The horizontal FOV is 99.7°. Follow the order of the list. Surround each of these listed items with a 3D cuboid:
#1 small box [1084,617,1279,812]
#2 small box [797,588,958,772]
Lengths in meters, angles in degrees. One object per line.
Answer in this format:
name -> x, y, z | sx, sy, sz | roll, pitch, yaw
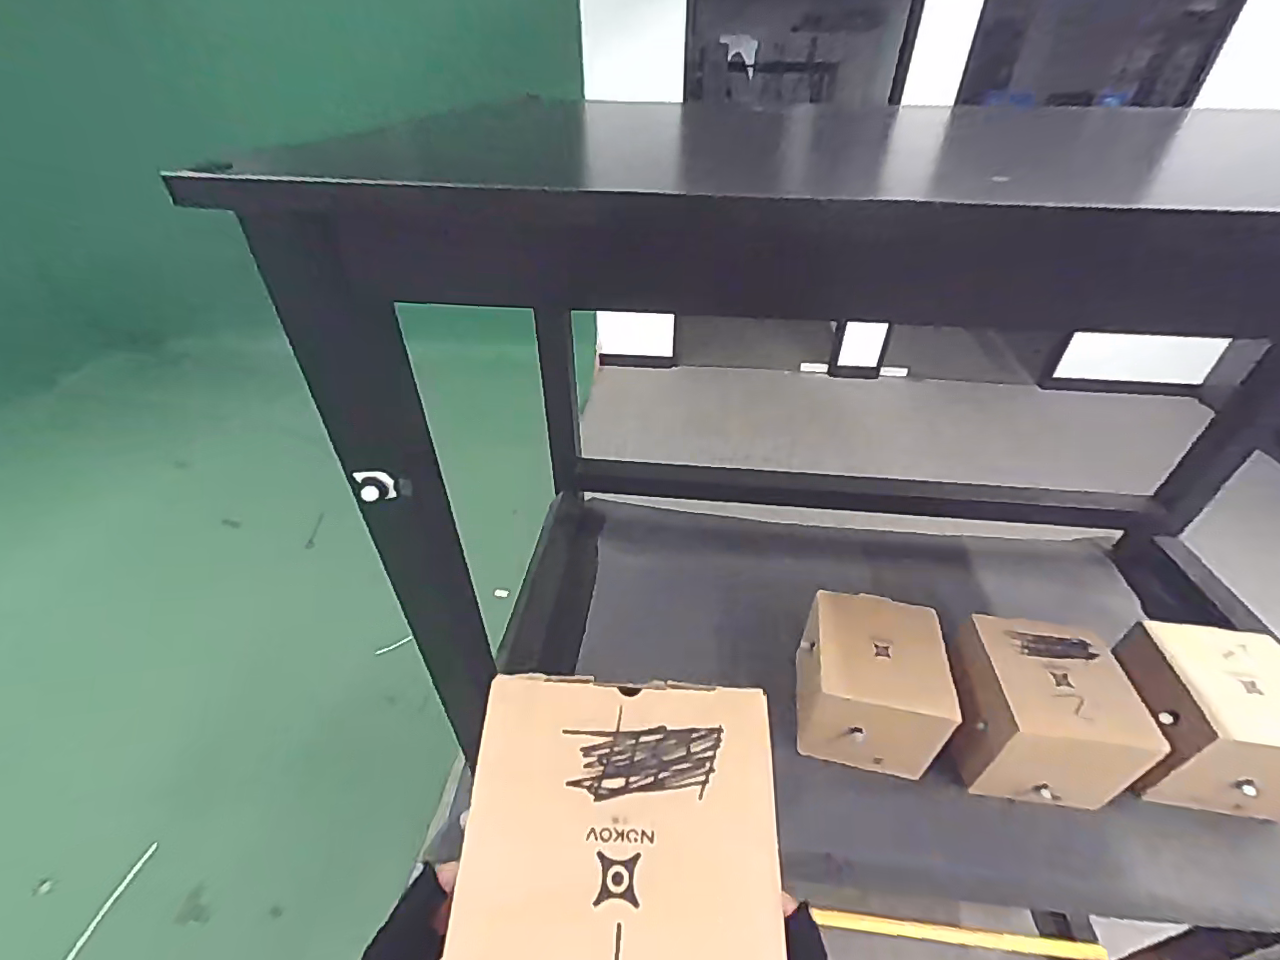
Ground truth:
small box -> 0.764, 0.317, 0.734 | 0.168, 0.176, 0.179 | 6, 38, 7
small box -> 0.326, 0.287, 0.778 | 0.168, 0.176, 0.179 | 8, 39, 10
